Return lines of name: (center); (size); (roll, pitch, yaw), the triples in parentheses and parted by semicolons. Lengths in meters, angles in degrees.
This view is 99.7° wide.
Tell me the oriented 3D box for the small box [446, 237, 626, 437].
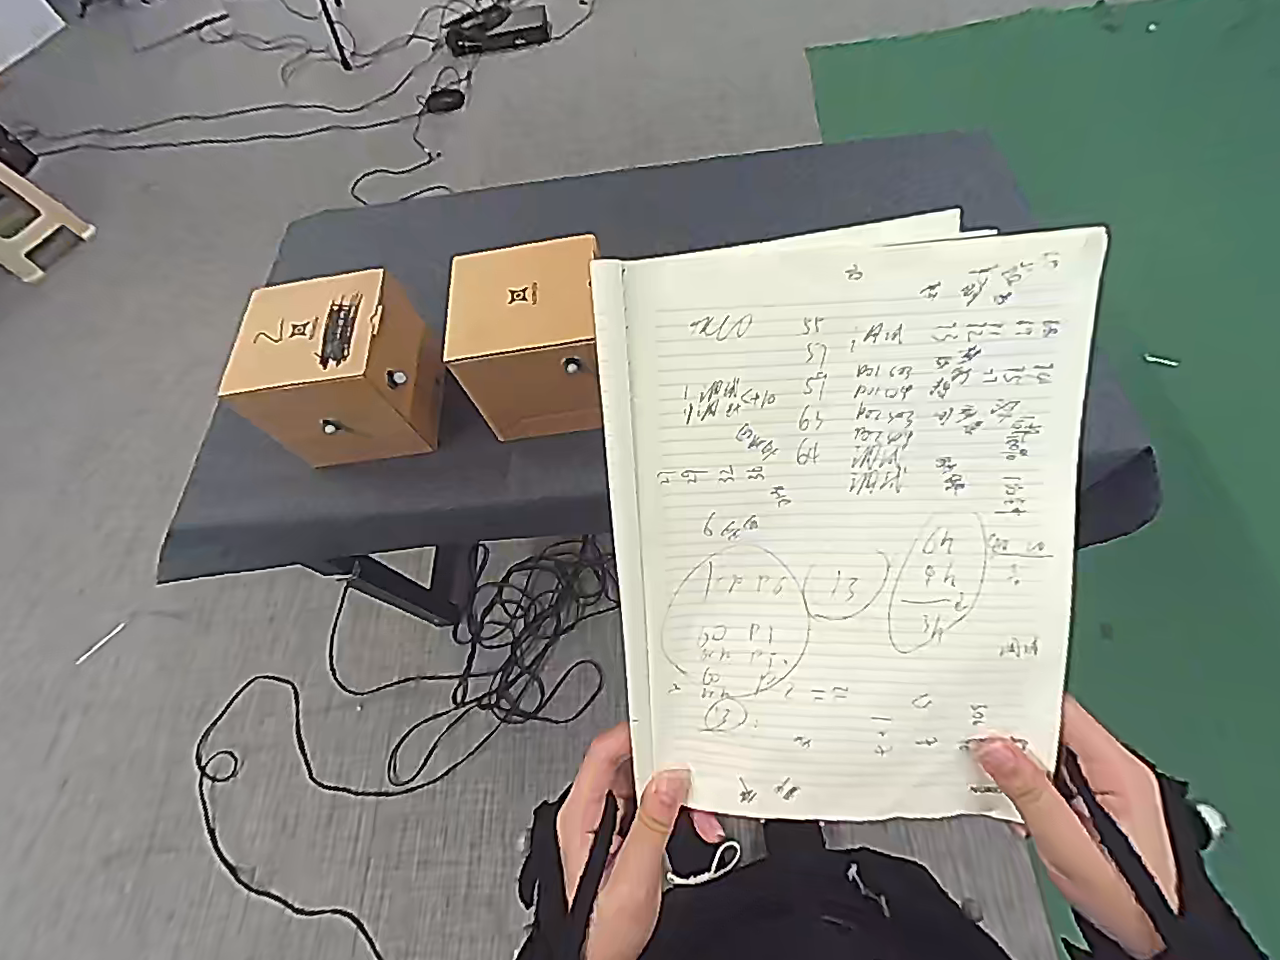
small box: (-0.120, -0.170, 0.683); (0.179, 0.176, 0.168); (-8, 62, 3)
